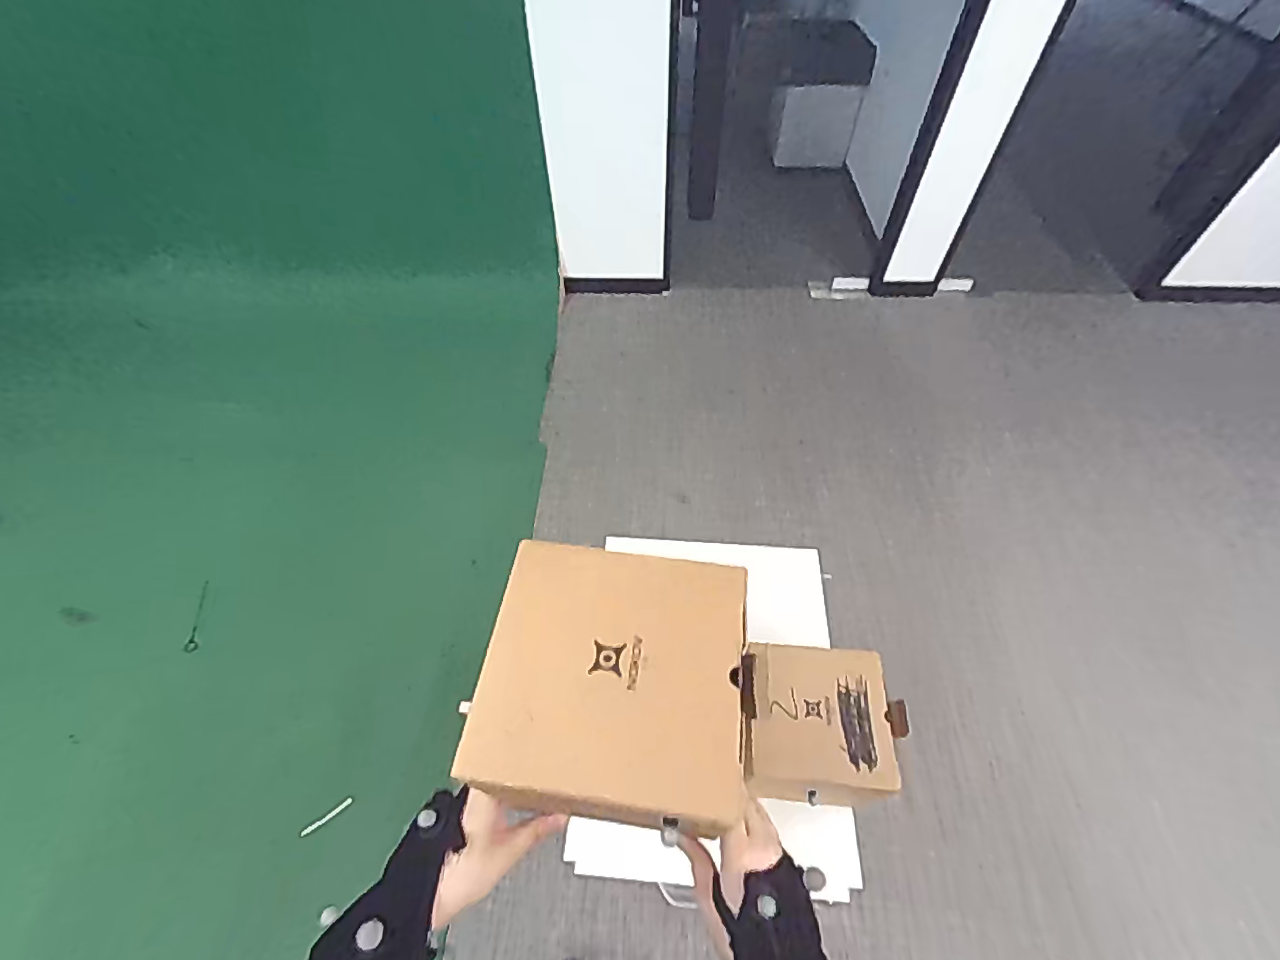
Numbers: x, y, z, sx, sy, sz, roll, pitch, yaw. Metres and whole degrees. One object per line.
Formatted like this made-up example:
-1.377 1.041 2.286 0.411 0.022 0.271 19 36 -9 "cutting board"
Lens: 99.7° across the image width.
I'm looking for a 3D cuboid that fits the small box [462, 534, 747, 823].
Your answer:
-0.014 0.165 0.438 0.179 0.176 0.168 7 53 5 "small box"
